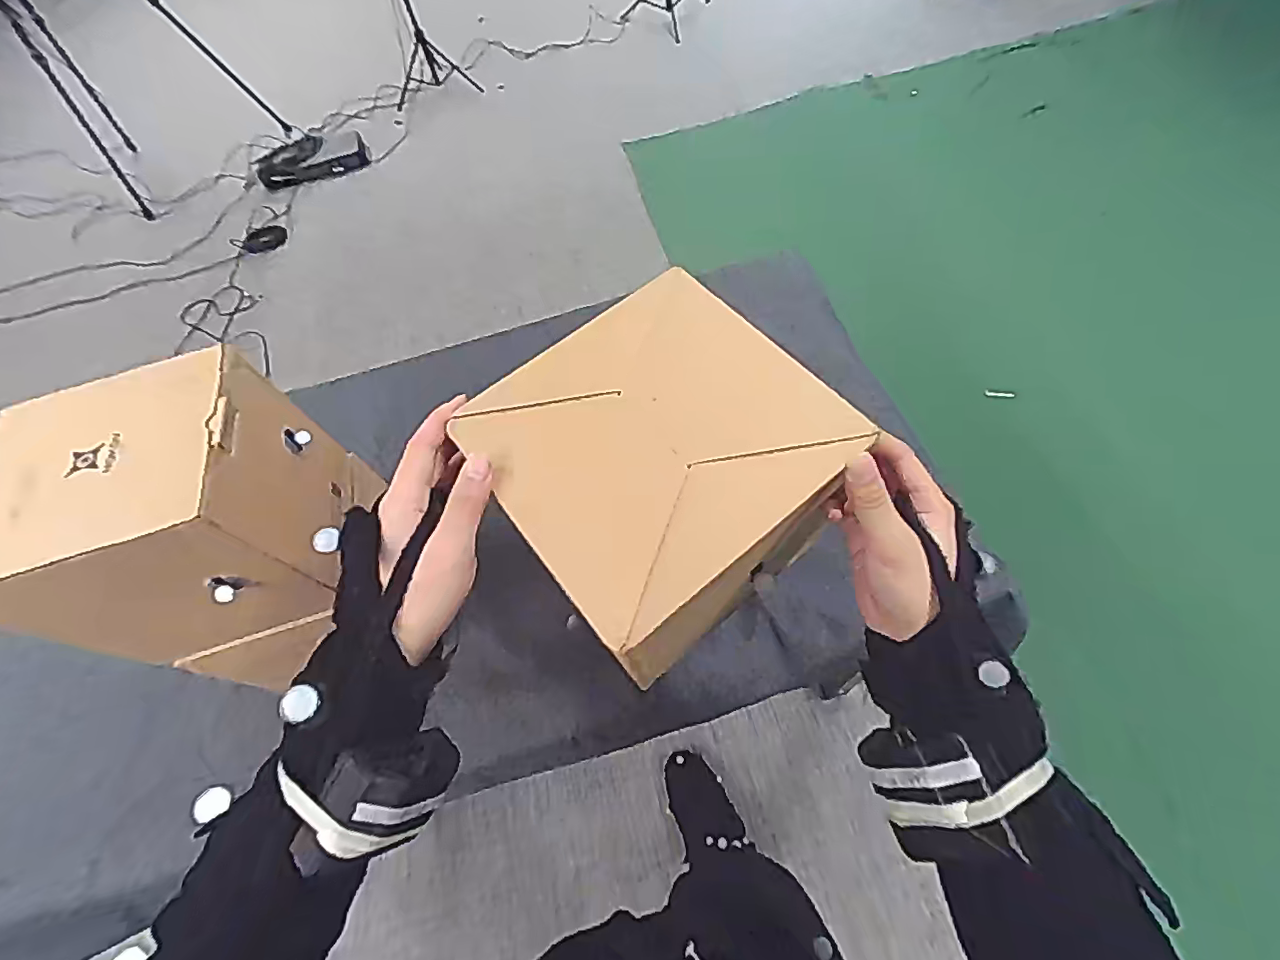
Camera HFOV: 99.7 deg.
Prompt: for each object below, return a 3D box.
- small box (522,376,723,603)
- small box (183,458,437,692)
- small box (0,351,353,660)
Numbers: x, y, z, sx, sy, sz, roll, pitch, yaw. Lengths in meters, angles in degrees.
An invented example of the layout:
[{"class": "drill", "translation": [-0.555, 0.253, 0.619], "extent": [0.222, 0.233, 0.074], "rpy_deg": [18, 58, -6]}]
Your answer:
[{"class": "small box", "translation": [-0.014, 0.019, 0.601], "extent": [0.179, 0.176, 0.168], "rpy_deg": [-16, 58, -2]}, {"class": "small box", "translation": [-0.339, 0.109, 0.589], "extent": [0.168, 0.176, 0.179], "rpy_deg": [-18, 59, -2]}, {"class": "small box", "translation": [-0.364, 0.030, 0.449], "extent": [0.179, 0.176, 0.168], "rpy_deg": [-19, 58, -2]}]
